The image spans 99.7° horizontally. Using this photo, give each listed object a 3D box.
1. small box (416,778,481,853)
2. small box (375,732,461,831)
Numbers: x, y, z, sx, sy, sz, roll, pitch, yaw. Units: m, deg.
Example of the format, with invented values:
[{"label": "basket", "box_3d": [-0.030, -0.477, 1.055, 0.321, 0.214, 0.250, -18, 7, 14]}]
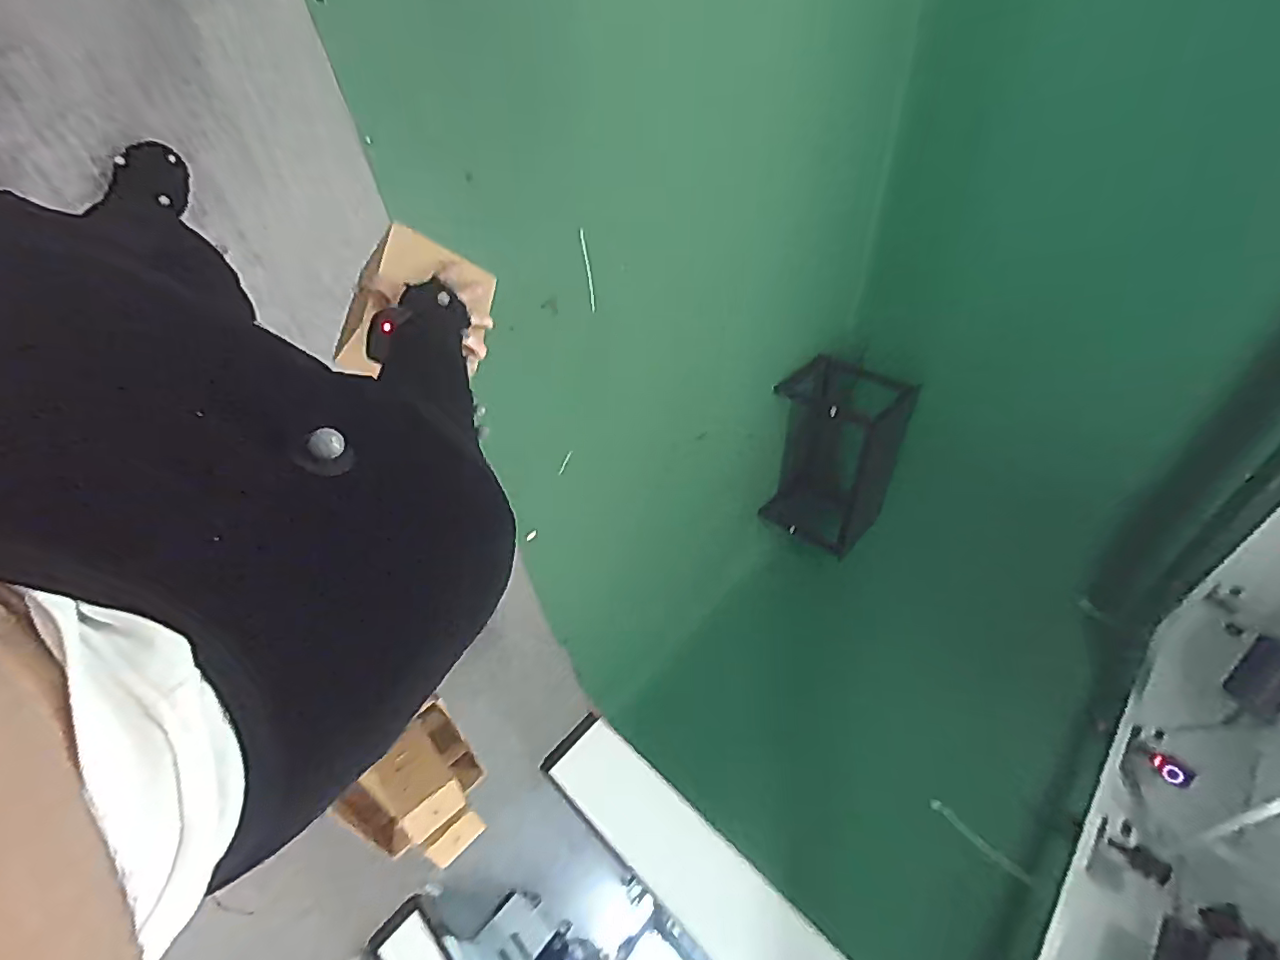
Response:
[{"label": "small box", "box_3d": [-0.660, 1.082, 1.792, 0.168, 0.176, 0.179, -37, 139, -30]}, {"label": "small box", "box_3d": [-0.669, 0.898, 1.628, 0.168, 0.176, 0.179, -31, 139, -35]}]
